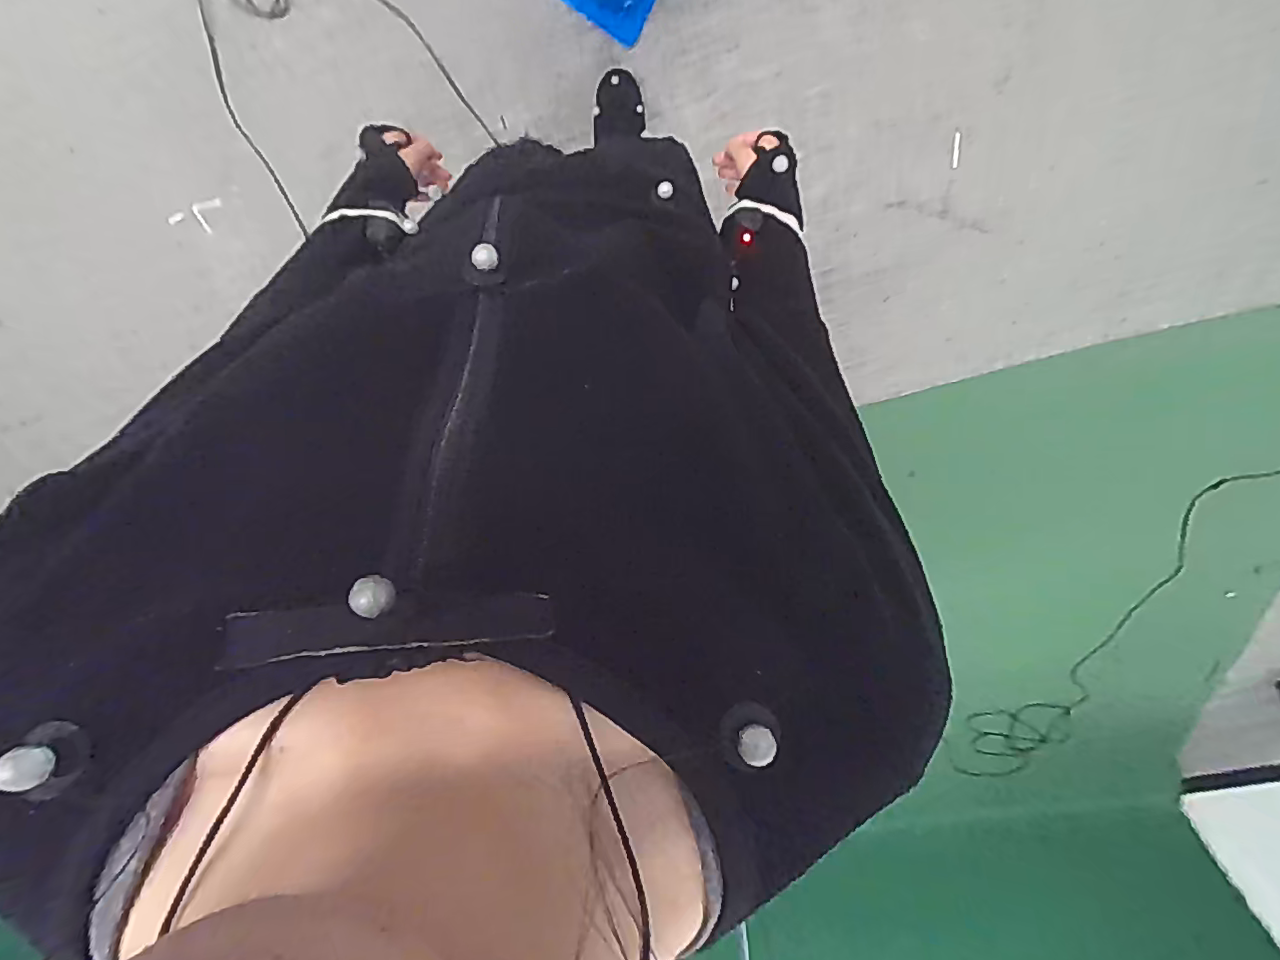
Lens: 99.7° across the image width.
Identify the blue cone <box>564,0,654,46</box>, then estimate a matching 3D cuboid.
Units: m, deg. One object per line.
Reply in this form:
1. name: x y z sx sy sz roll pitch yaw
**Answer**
1. blue cone: -0.046 -0.849 0.854 0.192 0.380 0.193 24 122 -17
